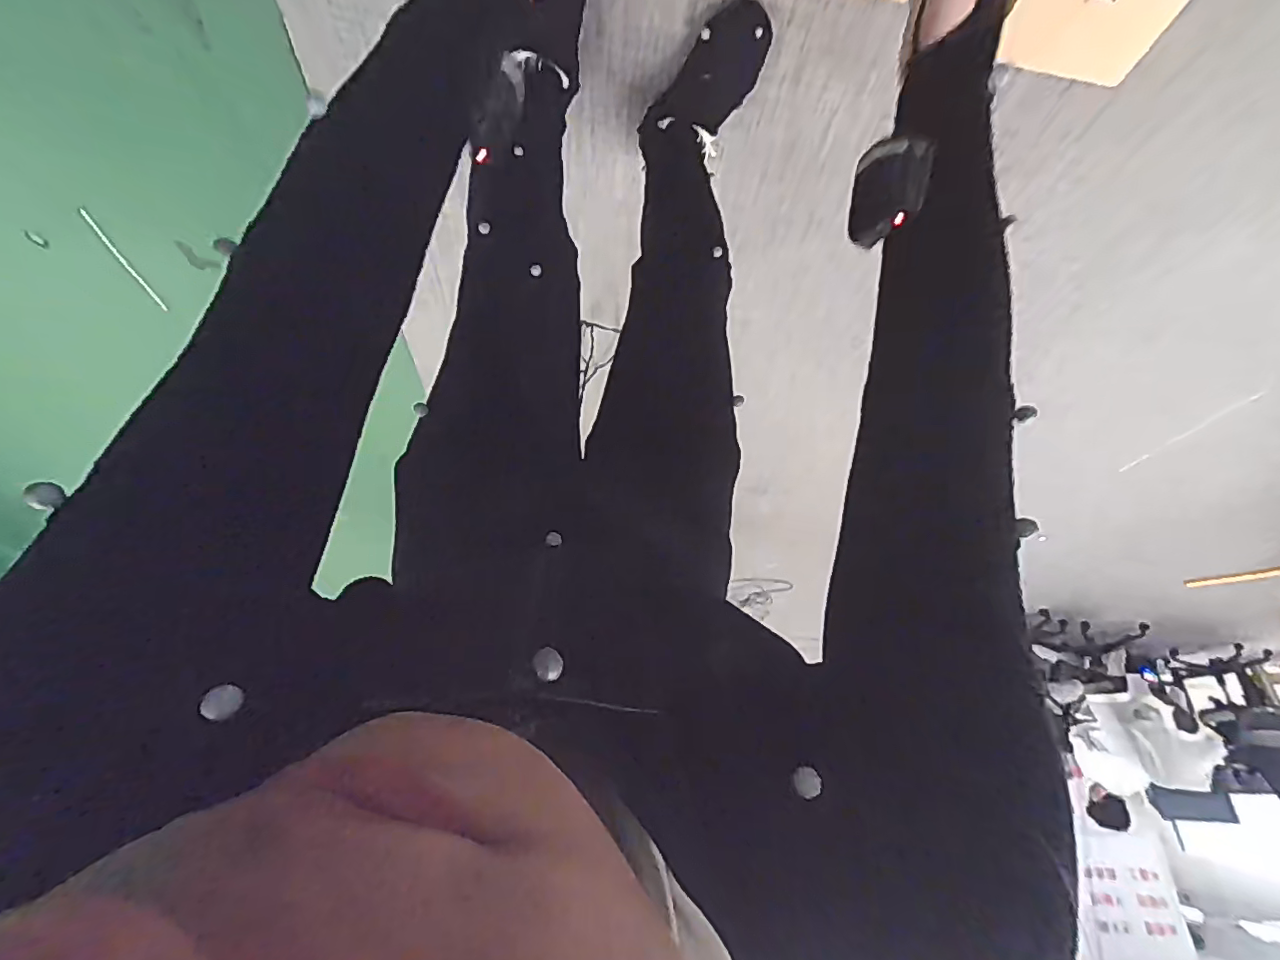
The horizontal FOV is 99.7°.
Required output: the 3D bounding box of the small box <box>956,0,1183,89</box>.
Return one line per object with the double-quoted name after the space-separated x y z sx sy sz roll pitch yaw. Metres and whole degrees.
0.491 -0.583 0.601 0.179 0.176 0.168 8 152 -5 "small box"
